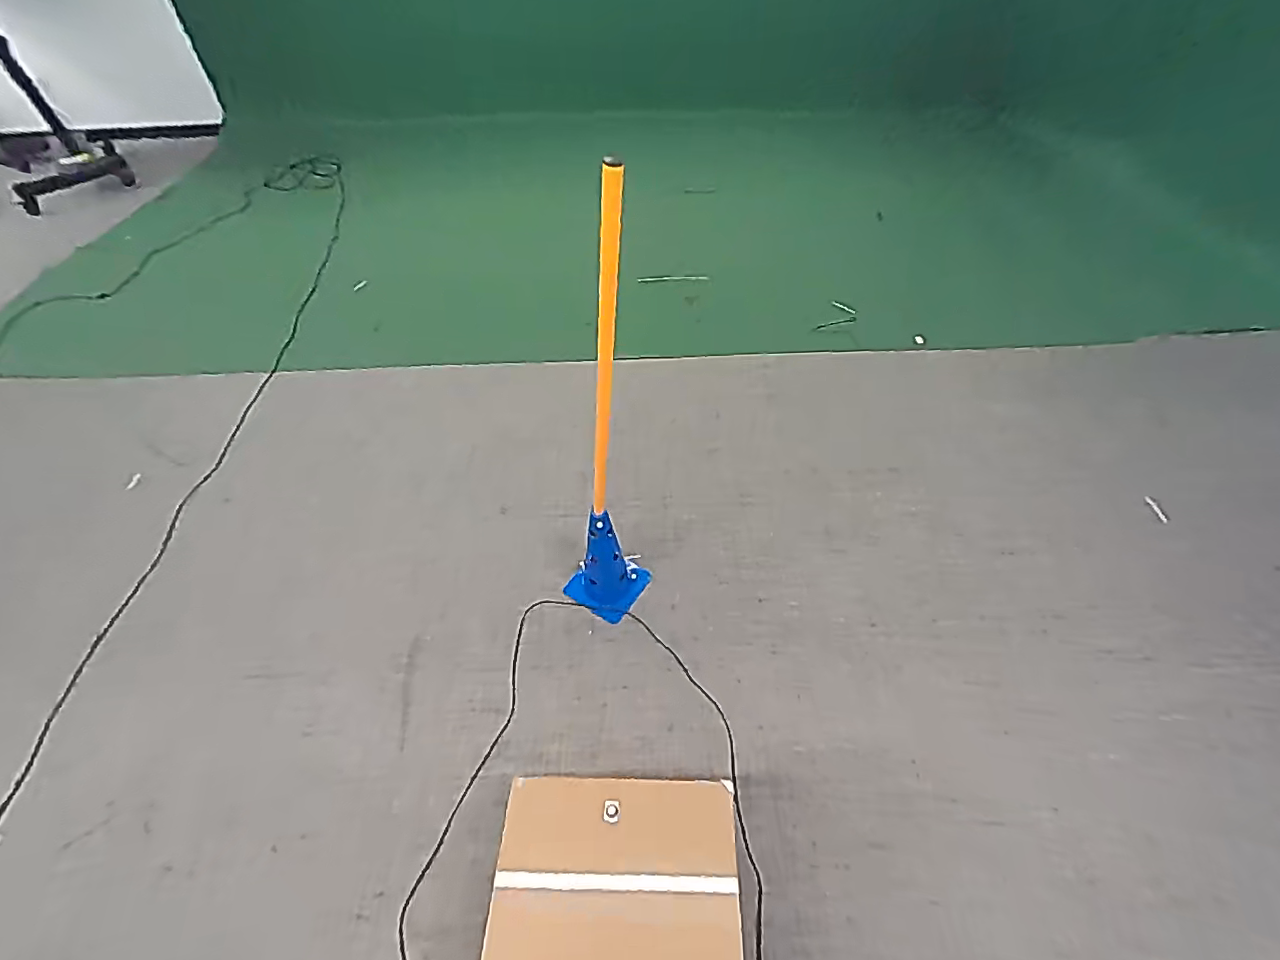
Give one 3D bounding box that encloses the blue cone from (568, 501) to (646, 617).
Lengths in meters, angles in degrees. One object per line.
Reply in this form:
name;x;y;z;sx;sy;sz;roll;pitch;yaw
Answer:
blue cone;-0.097;0.183;1.460;0.192;0.380;0.193;25;53;20
